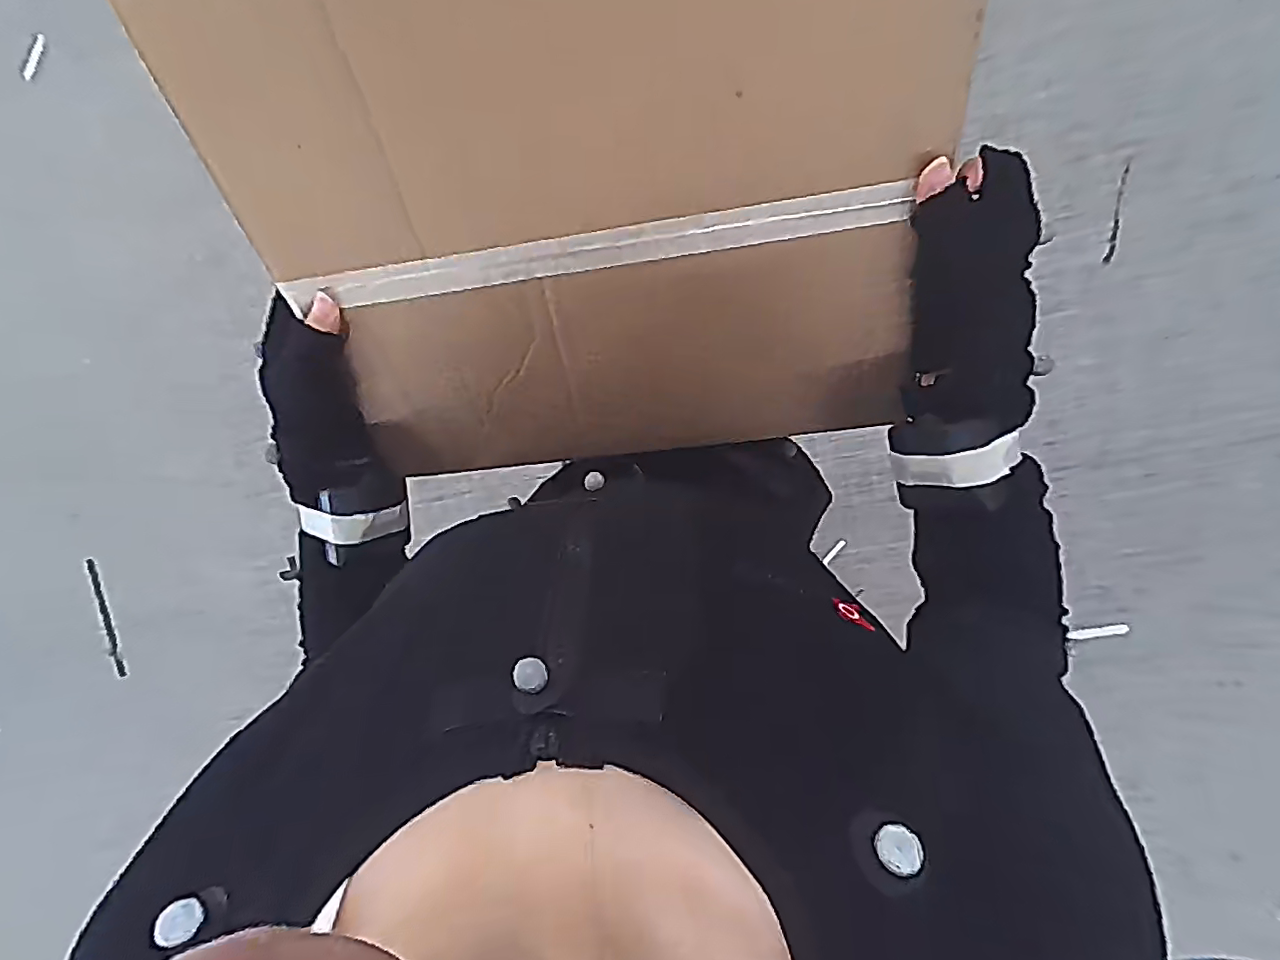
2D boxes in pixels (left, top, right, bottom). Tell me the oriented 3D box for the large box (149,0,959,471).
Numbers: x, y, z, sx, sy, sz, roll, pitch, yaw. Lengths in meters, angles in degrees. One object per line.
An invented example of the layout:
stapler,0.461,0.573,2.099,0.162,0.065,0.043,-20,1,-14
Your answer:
large box,-0.023,-0.242,0.450,0.408,0.320,0.320,-6,130,7
